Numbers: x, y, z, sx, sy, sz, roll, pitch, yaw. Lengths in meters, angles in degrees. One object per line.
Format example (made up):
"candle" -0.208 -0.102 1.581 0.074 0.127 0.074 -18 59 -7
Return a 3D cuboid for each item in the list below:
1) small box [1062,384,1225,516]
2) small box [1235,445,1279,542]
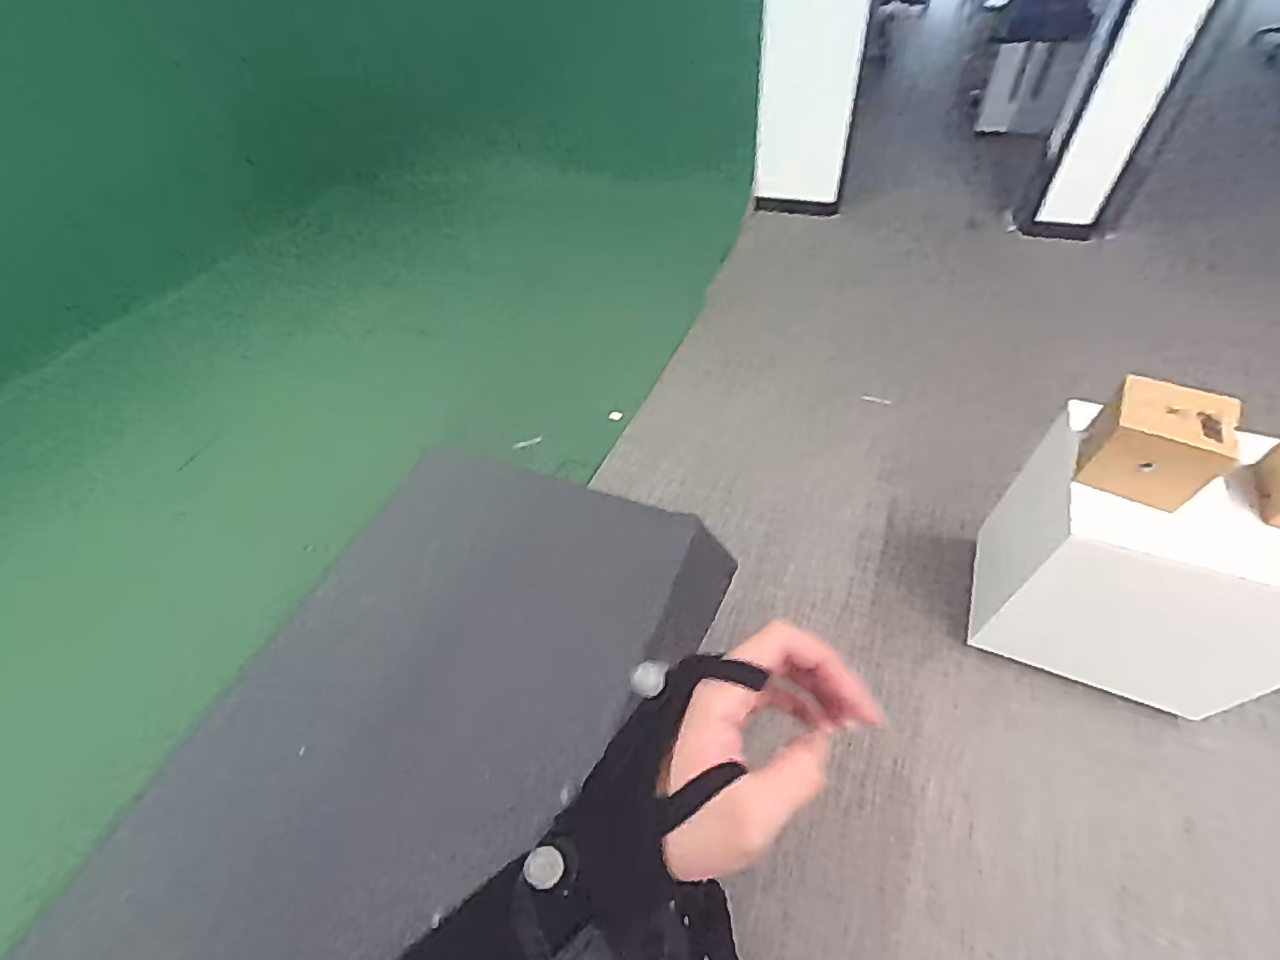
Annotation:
"small box" 0.988 -0.054 1.070 0.179 0.176 0.168 24 56 23
"small box" 1.266 0.022 0.985 0.179 0.176 0.168 18 54 19
